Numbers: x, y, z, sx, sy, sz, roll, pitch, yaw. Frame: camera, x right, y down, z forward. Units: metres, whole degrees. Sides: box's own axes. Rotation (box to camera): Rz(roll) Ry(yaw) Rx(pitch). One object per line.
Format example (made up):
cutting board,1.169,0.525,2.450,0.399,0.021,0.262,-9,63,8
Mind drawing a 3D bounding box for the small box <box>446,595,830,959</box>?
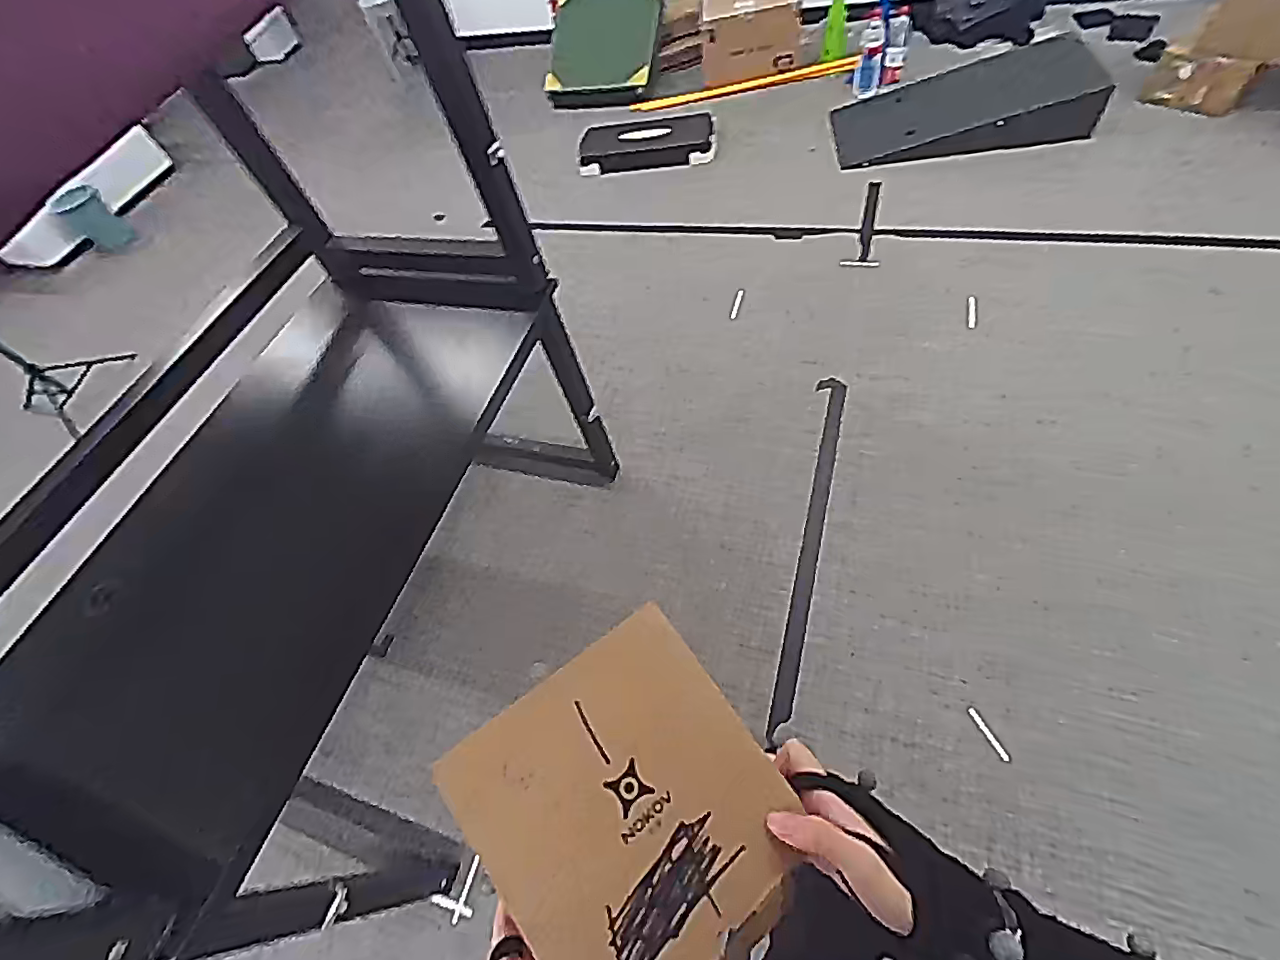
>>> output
small box,-0.014,0.212,0.381,0.168,0.176,0.179,-30,75,-26
